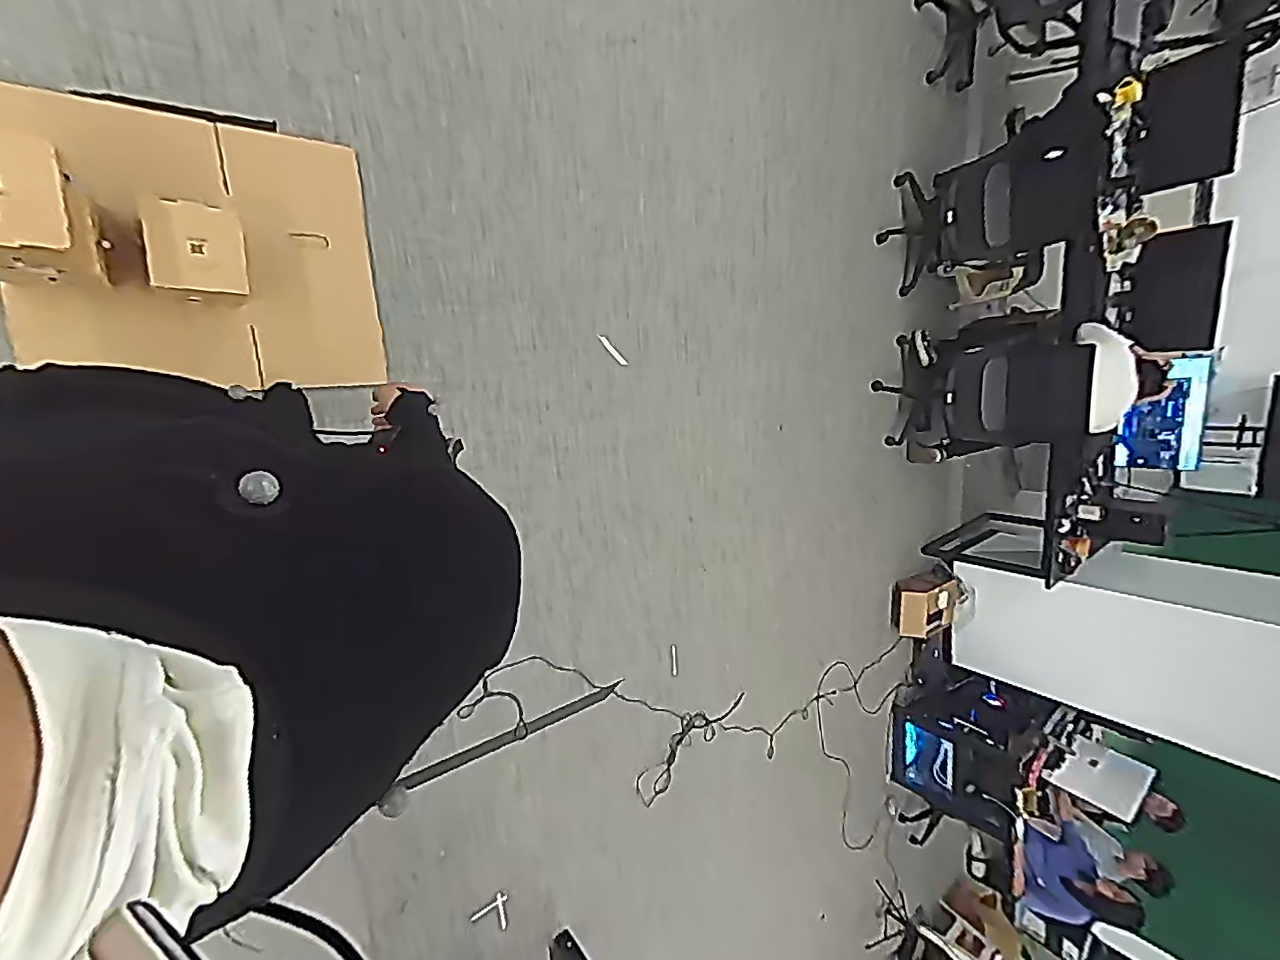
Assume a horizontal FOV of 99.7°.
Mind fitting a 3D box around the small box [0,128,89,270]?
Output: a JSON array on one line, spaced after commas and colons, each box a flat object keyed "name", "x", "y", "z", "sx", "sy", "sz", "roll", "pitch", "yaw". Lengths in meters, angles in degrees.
[{"name": "small box", "x": -1.052, "y": -0.463, "z": 0.892, "sx": 0.168, "sy": 0.176, "sz": 0.179, "roll": -7, "pitch": 101, "yaw": -36}]

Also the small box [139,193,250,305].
[{"name": "small box", "x": -0.961, "y": -0.488, "z": 1.170, "sx": 0.168, "sy": 0.176, "sz": 0.179, "roll": -8, "pitch": 101, "yaw": -38}]

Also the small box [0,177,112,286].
[{"name": "small box", "x": -1.144, "y": -0.475, "z": 1.029, "sx": 0.168, "sy": 0.176, "sz": 0.179, "roll": -8, "pitch": 102, "yaw": -36}]
